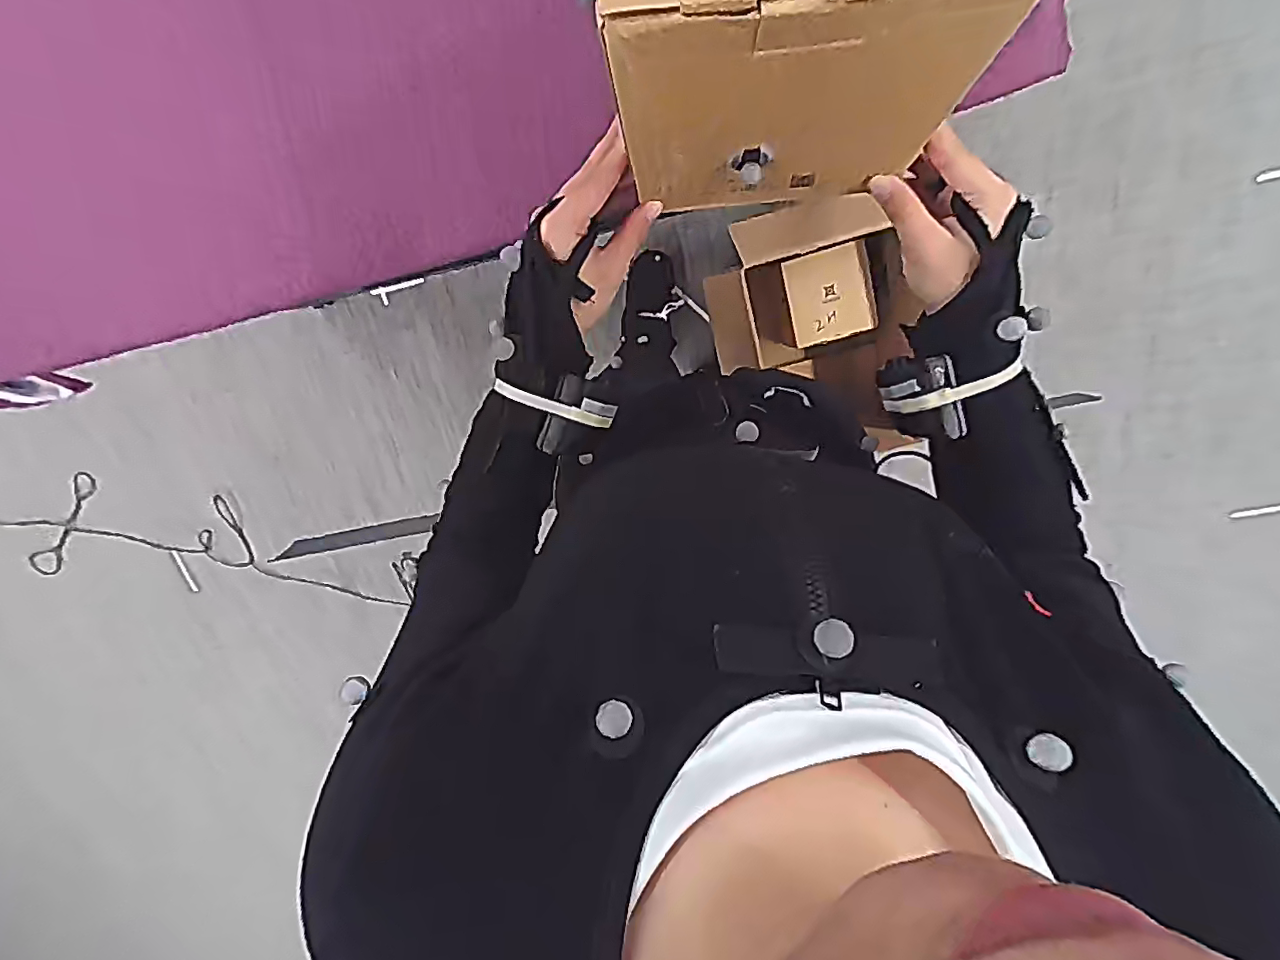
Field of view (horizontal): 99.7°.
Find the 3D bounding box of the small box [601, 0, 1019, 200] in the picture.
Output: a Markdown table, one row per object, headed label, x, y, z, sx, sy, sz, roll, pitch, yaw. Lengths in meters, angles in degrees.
| label | x | y | z | sx | sy | sz | roll | pitch | yaw |
| --- | --- | --- | --- | --- | --- | --- | --- | --- | --- |
| small box | 0.068 | -0.271 | 0.269 | 0.168 | 0.176 | 0.179 | -3 | 94 | 6 |
